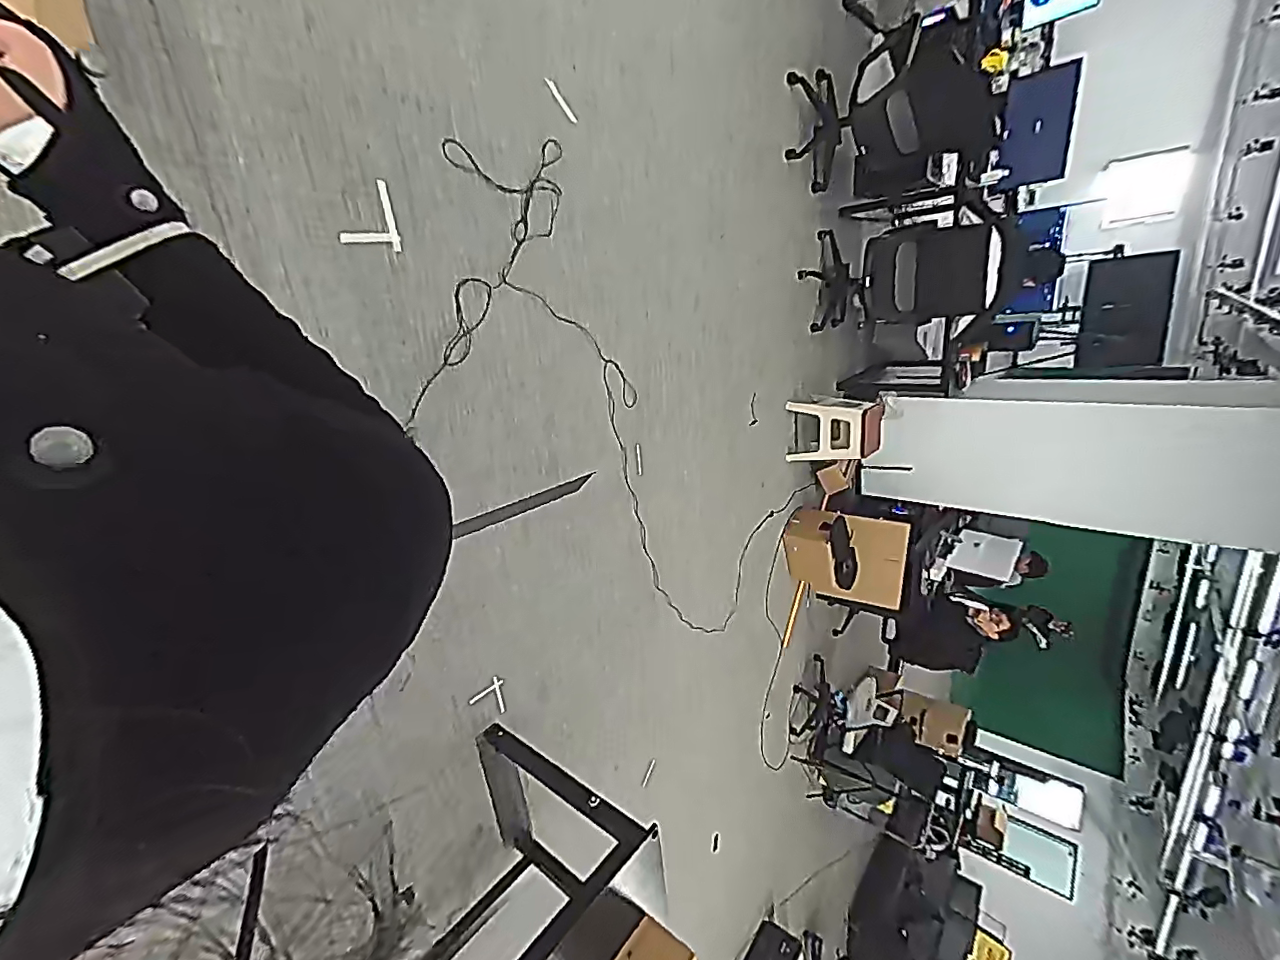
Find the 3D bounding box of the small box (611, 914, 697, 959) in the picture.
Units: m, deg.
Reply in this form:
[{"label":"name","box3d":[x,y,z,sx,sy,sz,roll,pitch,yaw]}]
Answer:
[{"label":"small box","box3d":[0.038,1.301,1.420,0.168,0.176,0.179,-27,118,-43]}]
